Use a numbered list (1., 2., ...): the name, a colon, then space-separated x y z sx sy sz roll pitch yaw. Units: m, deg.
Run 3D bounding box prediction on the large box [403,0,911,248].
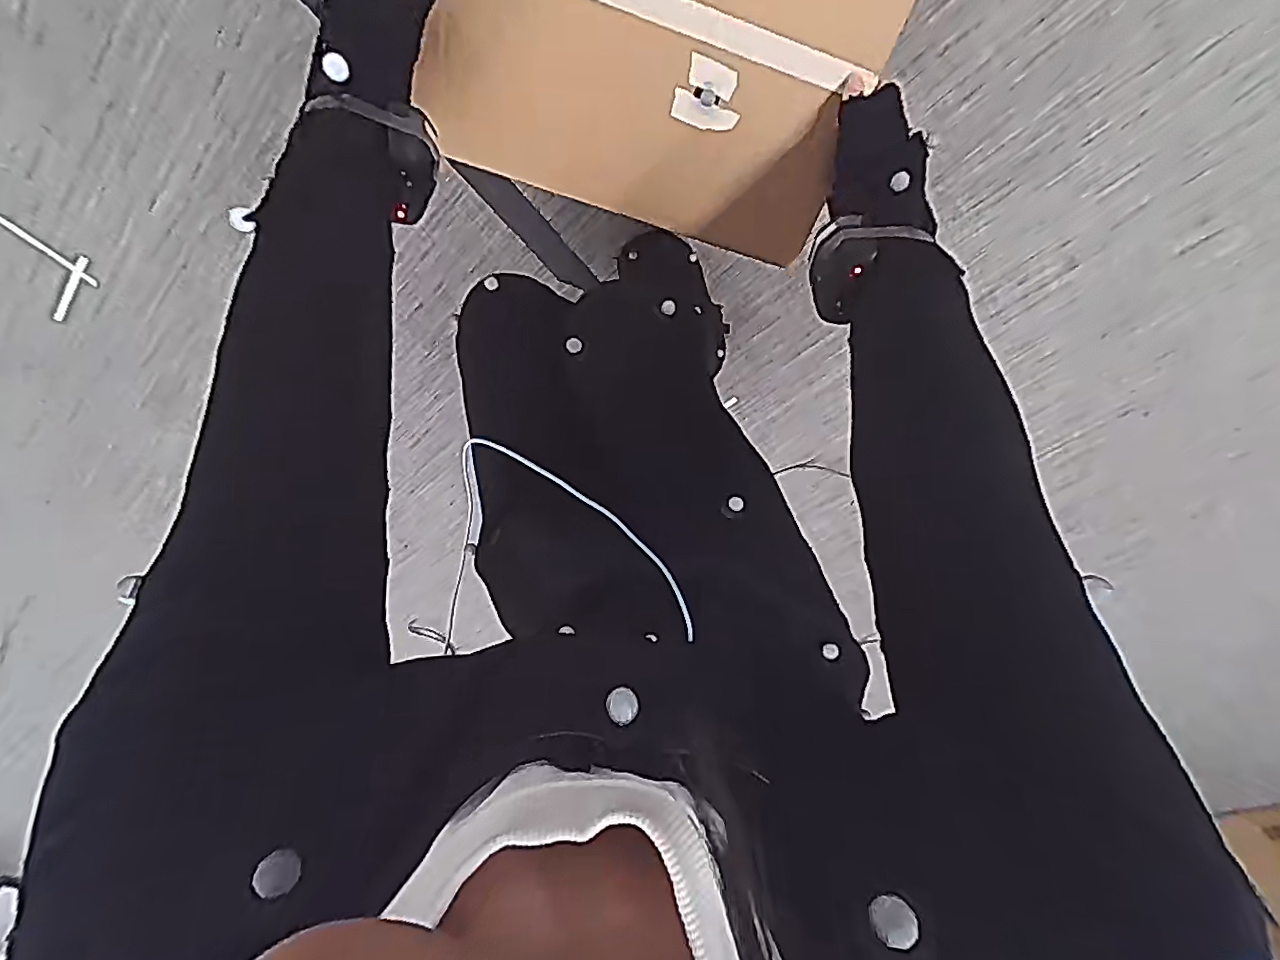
1. large box: 0.013 -0.484 0.554 0.408 0.320 0.320 13 127 -10
